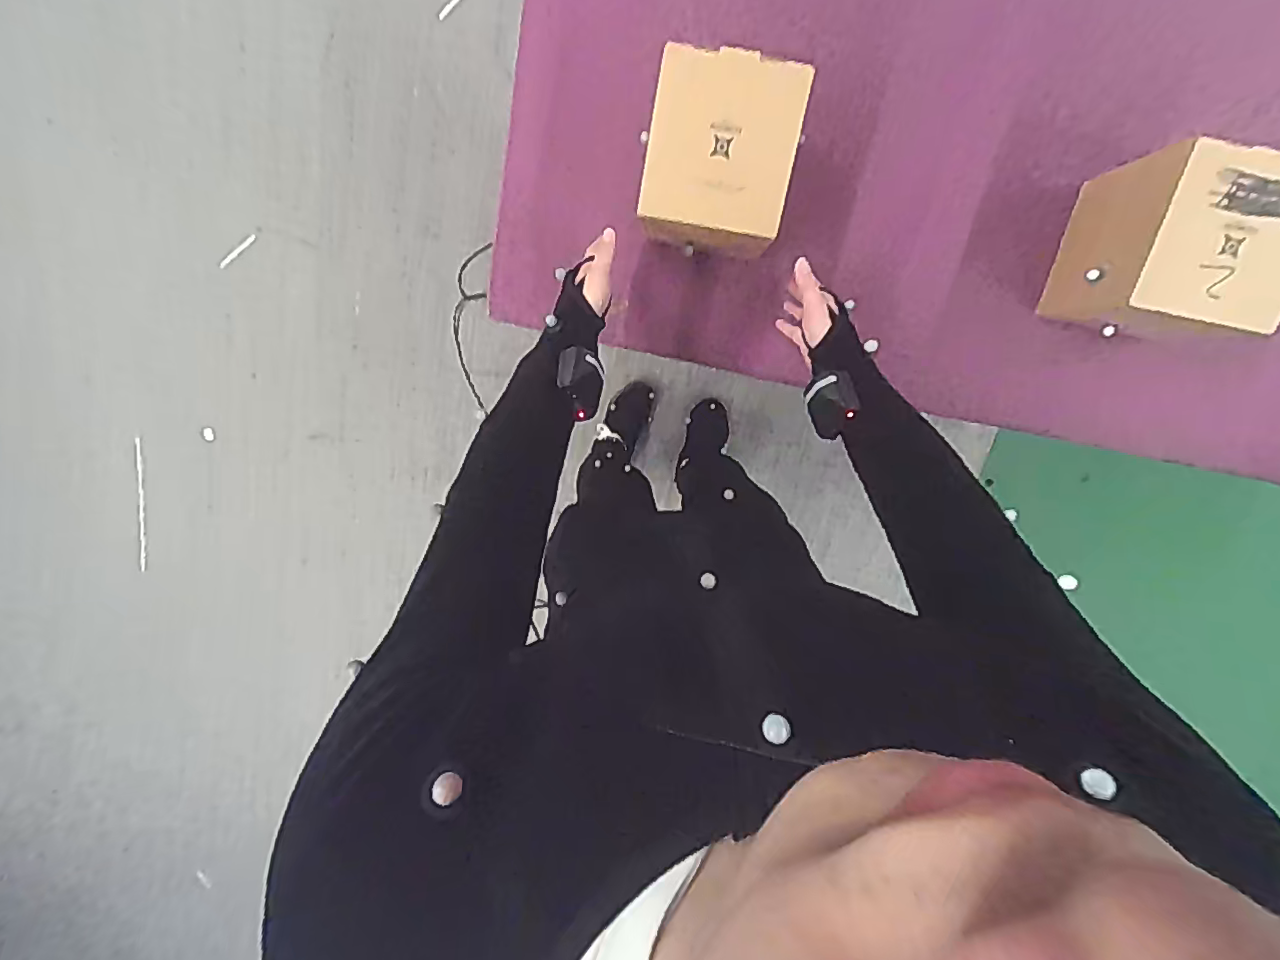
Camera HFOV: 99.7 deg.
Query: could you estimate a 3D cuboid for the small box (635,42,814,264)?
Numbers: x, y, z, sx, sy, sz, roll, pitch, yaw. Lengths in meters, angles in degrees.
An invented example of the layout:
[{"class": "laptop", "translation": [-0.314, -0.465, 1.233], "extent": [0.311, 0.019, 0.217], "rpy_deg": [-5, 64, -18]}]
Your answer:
[{"class": "small box", "translation": [0.094, -0.384, 0.669], "extent": [0.168, 0.176, 0.179], "rpy_deg": [12, 104, 1]}]
